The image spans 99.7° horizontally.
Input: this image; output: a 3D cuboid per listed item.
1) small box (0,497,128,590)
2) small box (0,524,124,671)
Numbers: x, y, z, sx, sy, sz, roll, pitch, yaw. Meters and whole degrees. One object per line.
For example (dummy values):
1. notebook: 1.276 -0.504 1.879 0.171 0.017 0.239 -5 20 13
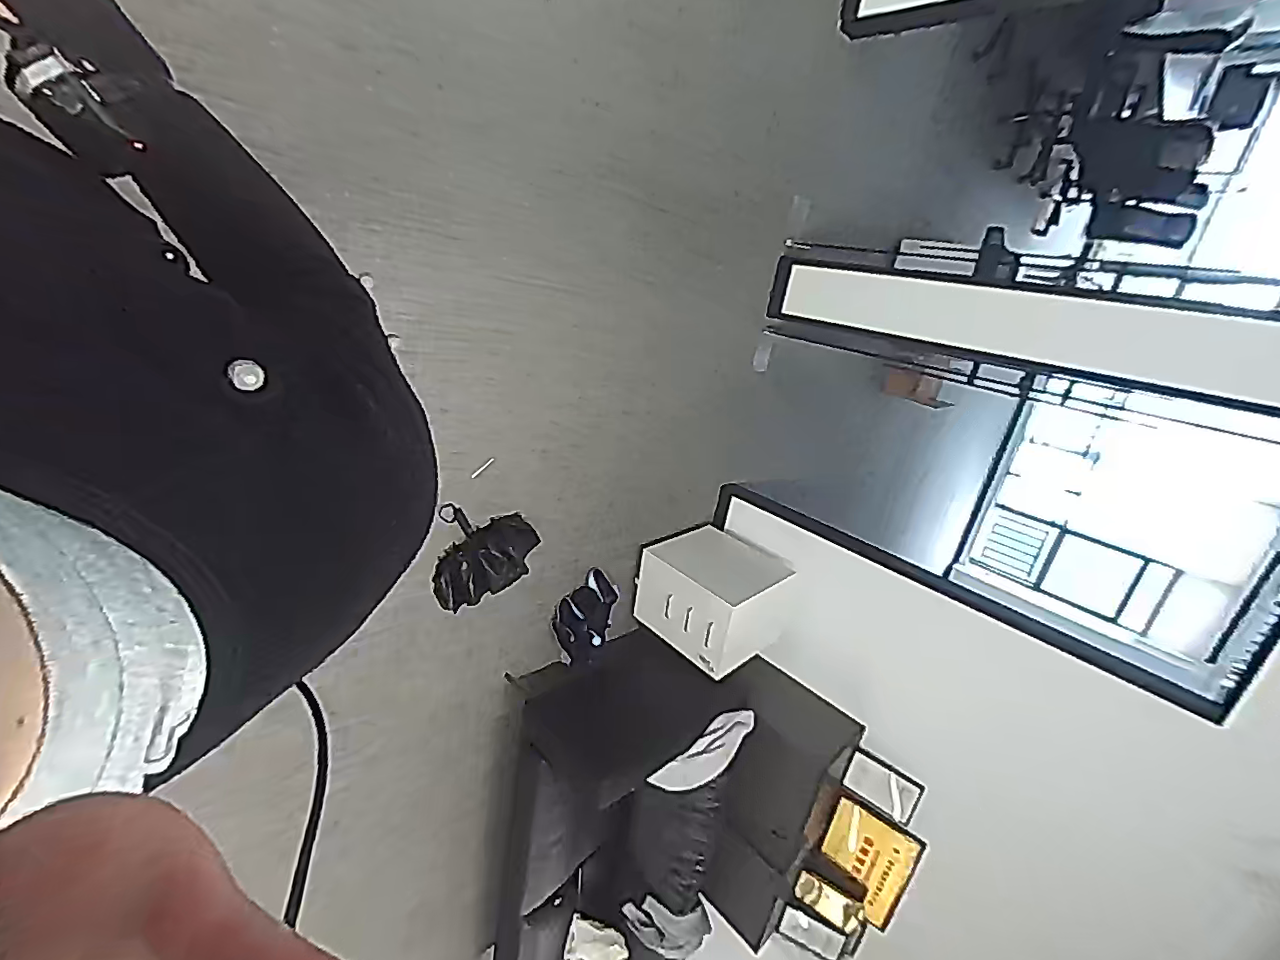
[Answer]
1. small box: -1.215 0.153 1.127 0.168 0.176 0.179 -23 128 -36
2. small box: -1.110 0.212 1.015 0.168 0.176 0.179 -22 125 -37
